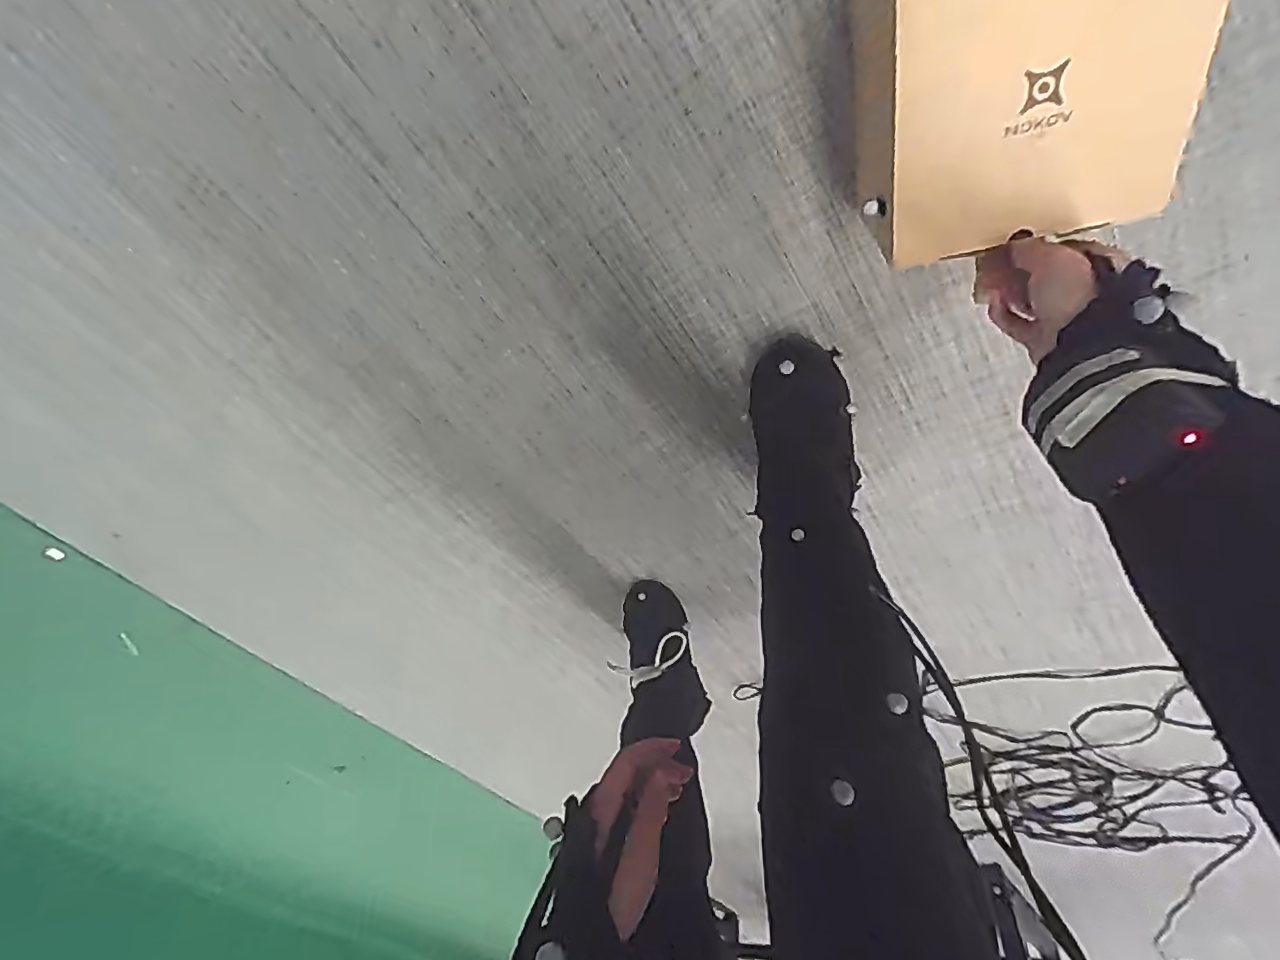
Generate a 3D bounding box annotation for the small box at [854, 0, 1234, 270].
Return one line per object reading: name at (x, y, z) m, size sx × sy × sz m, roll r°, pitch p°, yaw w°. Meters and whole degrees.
small box at (0.250, -0.276, 0.379) m, size 0.168 × 0.176 × 0.179 m, roll -7°, pitch 128°, yaw 17°
